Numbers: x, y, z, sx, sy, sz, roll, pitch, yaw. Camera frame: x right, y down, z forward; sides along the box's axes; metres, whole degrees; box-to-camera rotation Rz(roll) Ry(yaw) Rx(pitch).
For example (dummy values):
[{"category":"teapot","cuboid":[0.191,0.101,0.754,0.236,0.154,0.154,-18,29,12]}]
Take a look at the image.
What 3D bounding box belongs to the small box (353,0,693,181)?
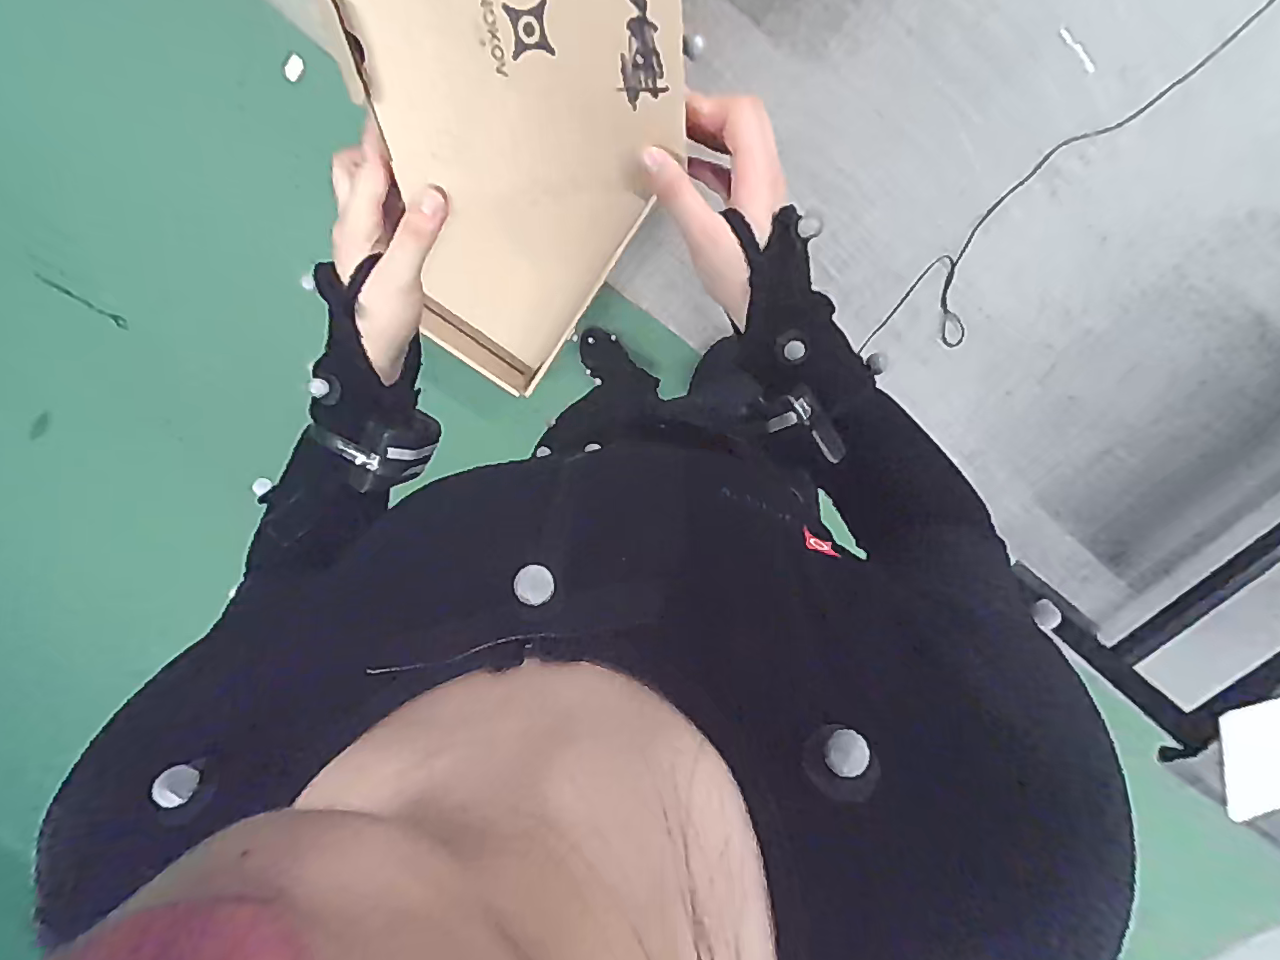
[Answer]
[{"category":"small box","cuboid":[-0.060,-0.299,0.334,0.179,0.176,0.168,-4,131,3]}]
